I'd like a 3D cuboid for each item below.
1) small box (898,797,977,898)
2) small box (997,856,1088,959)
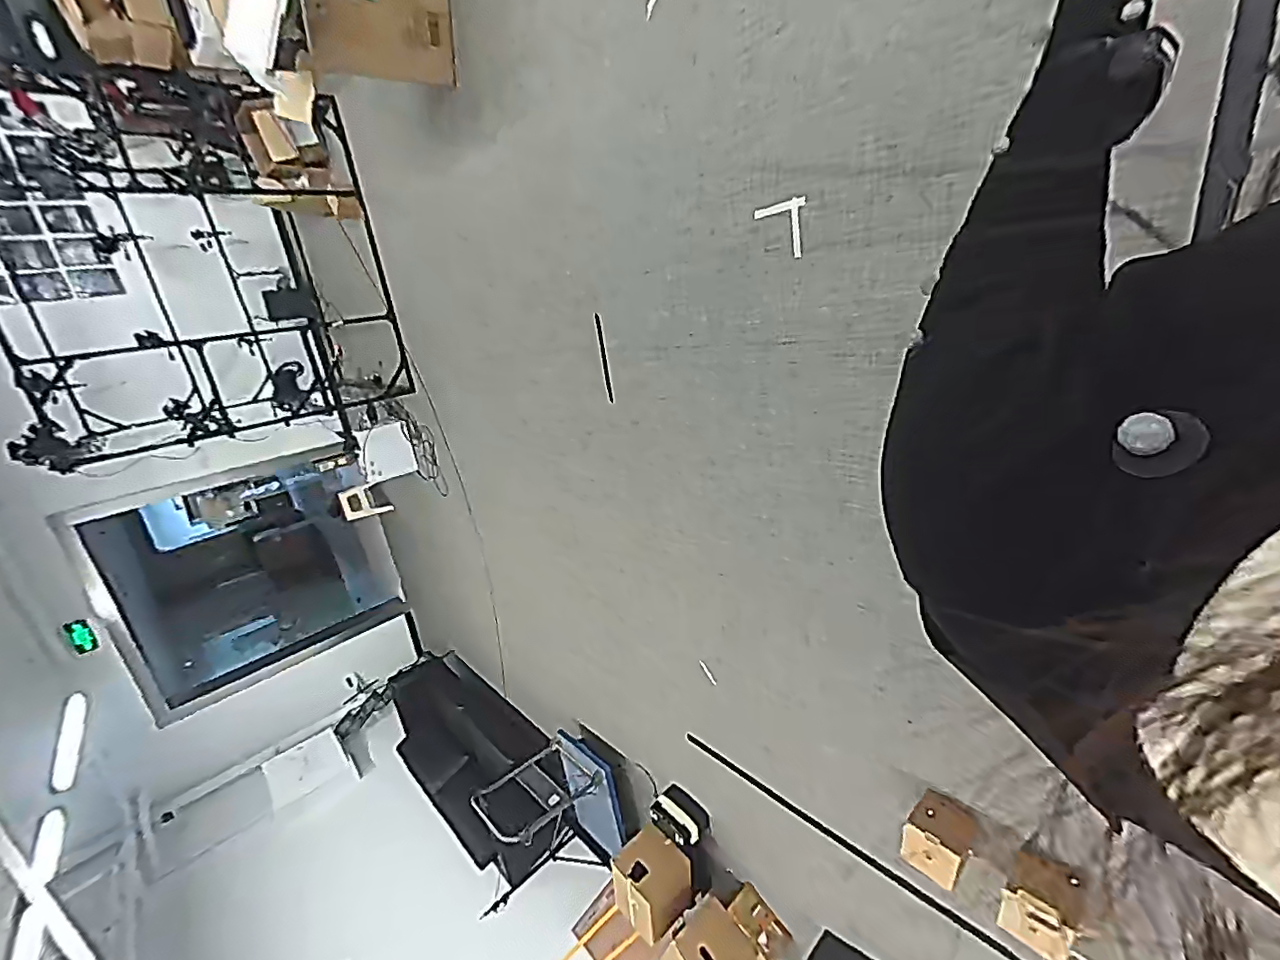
[{"bbox_3d":[0.969,1.184,1.756,0.168,0.176,0.179,21,124,45],"label":"small box"},{"bbox_3d":[1.157,1.241,1.553,0.168,0.176,0.179,17,121,46],"label":"small box"}]
